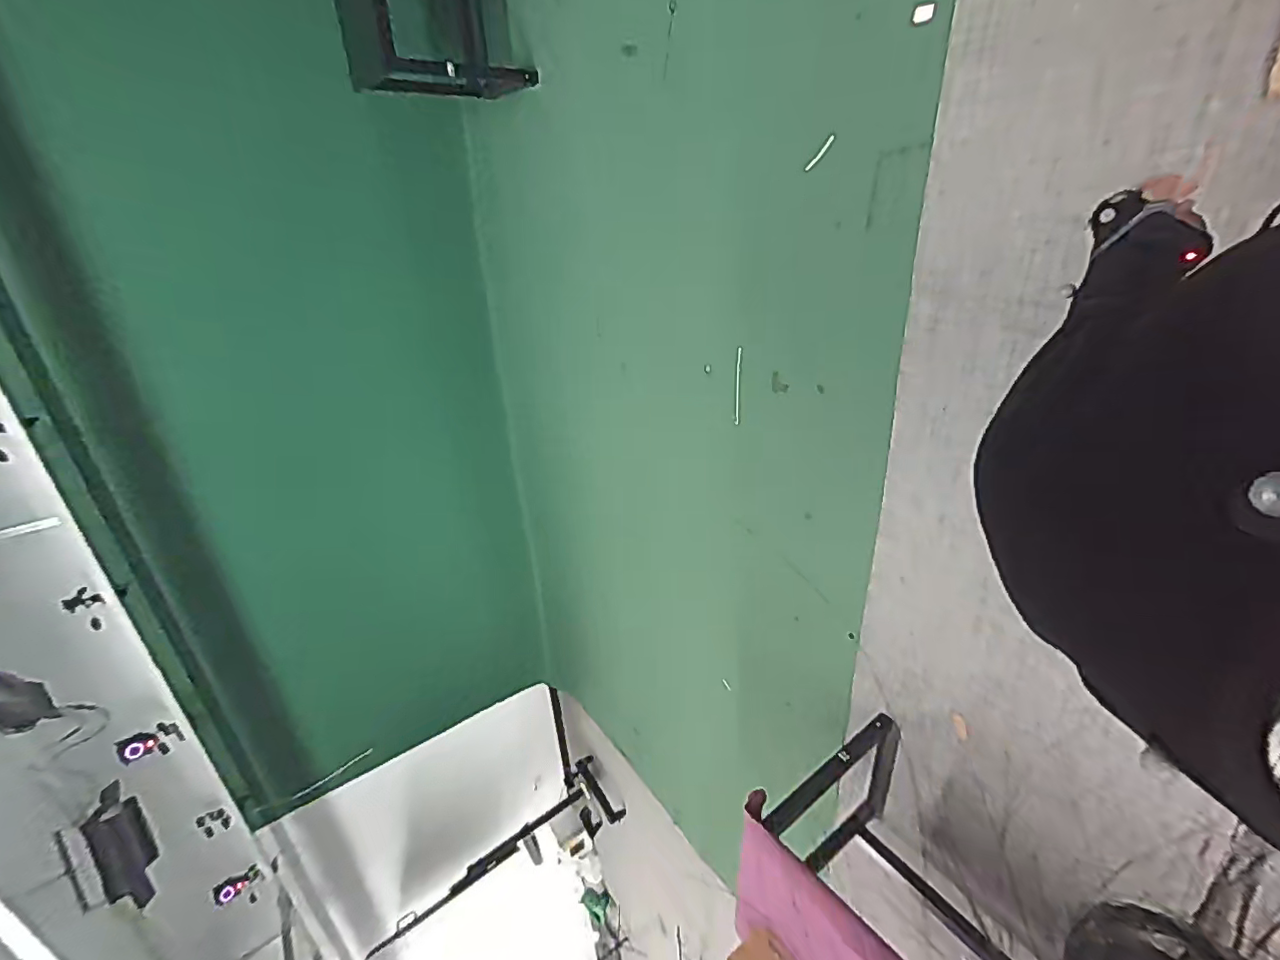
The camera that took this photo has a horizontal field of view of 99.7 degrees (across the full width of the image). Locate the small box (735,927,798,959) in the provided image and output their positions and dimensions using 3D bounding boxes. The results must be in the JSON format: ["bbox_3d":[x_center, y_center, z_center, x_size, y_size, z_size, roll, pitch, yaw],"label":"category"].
[{"bbox_3d":[0.400,1.544,1.655,0.168,0.176,0.179,21,123,49],"label":"small box"}]
